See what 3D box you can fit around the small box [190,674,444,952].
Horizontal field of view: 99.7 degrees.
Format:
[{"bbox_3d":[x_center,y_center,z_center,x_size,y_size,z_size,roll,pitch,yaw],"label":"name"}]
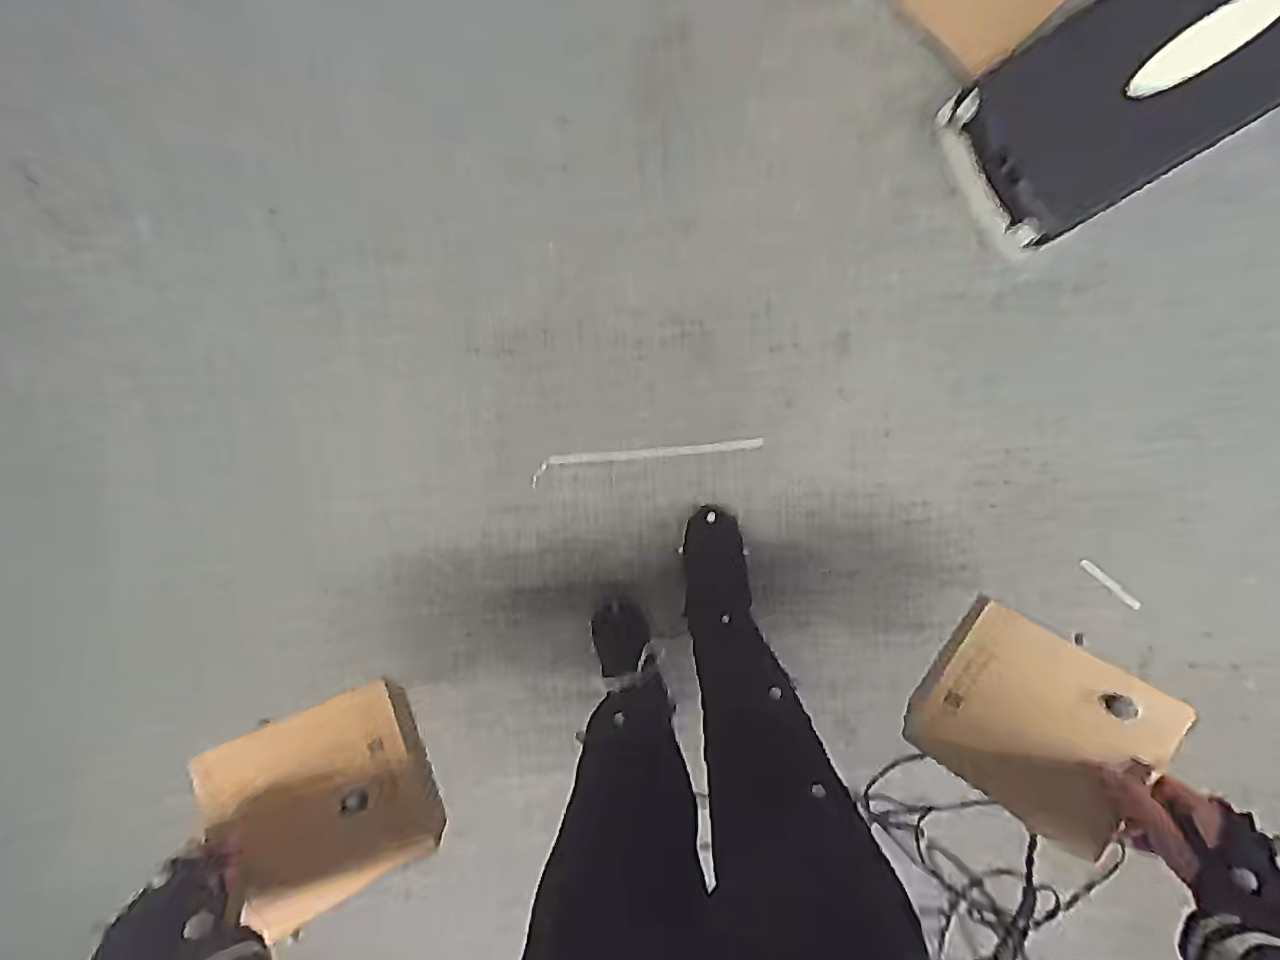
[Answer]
[{"bbox_3d":[-0.311,0.317,0.559,0.176,0.179,0.168,-20,74,-23],"label":"small box"}]
